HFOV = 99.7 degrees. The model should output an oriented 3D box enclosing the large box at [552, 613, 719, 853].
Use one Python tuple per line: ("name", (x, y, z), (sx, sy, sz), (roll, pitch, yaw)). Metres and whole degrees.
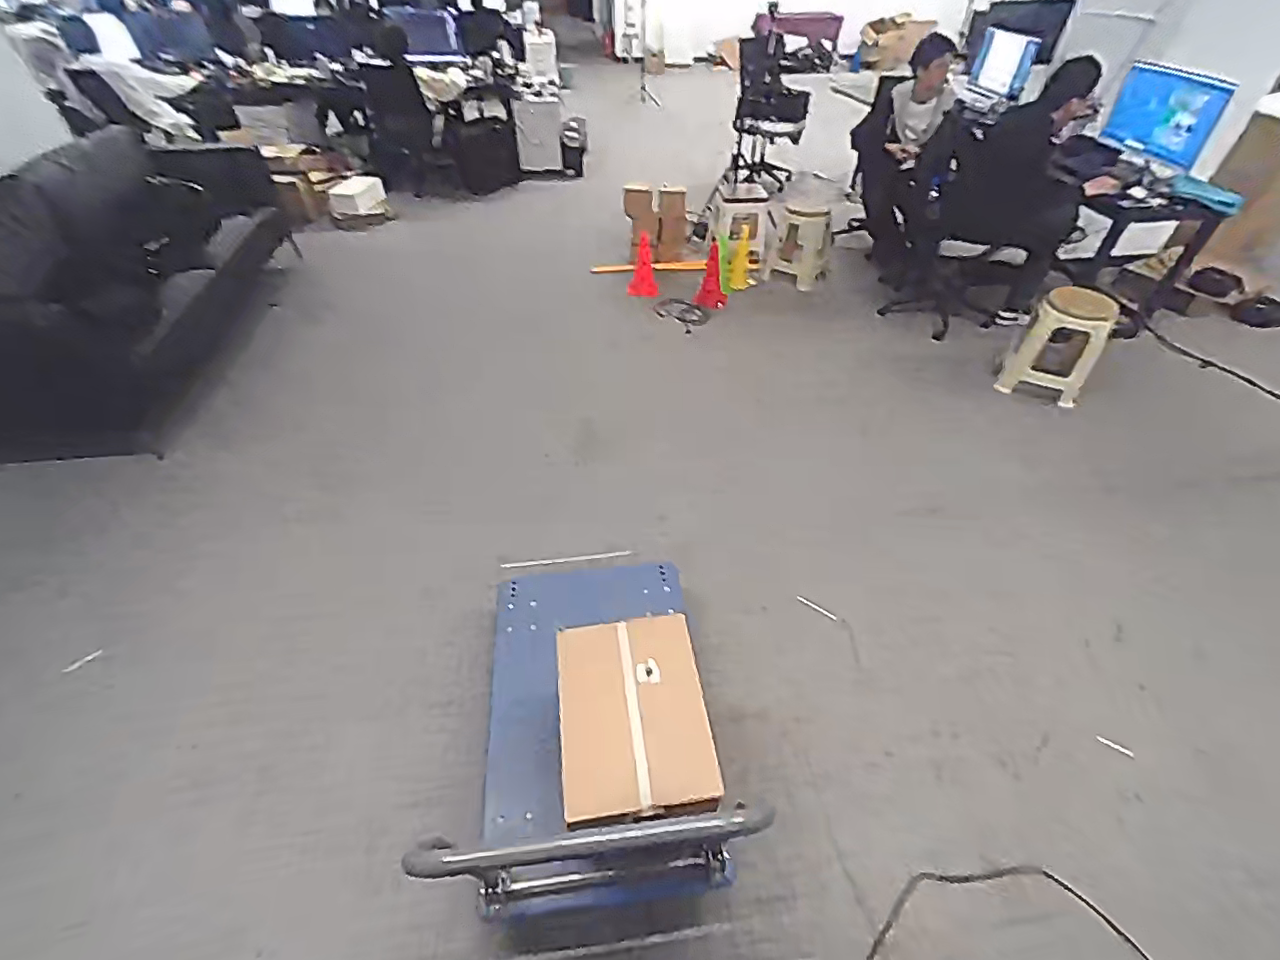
("large box", (-0.026, 0.585, 1.269), (0.320, 0.320, 0.408), (-6, 46, -6))
